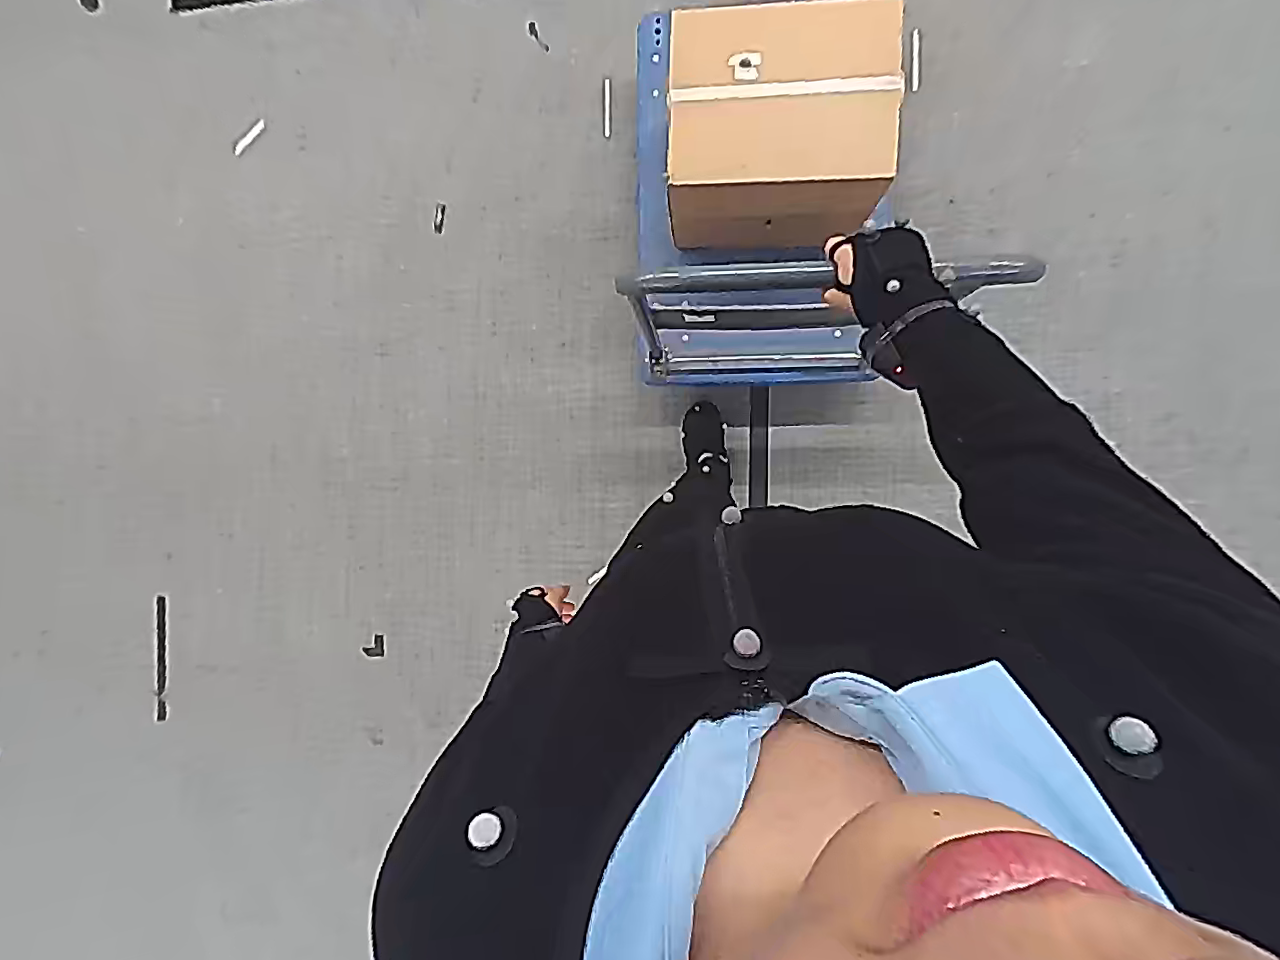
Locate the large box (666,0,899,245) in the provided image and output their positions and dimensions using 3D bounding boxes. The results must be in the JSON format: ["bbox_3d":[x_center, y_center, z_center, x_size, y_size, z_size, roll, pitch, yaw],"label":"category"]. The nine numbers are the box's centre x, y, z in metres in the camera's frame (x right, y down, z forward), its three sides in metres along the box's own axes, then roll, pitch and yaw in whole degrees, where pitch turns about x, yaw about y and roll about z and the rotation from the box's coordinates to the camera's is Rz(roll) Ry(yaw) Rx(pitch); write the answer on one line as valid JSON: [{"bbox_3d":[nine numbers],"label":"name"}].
[{"bbox_3d":[0.268,-0.696,1.100,0.408,0.320,0.320,1,91,8],"label":"large box"}]
